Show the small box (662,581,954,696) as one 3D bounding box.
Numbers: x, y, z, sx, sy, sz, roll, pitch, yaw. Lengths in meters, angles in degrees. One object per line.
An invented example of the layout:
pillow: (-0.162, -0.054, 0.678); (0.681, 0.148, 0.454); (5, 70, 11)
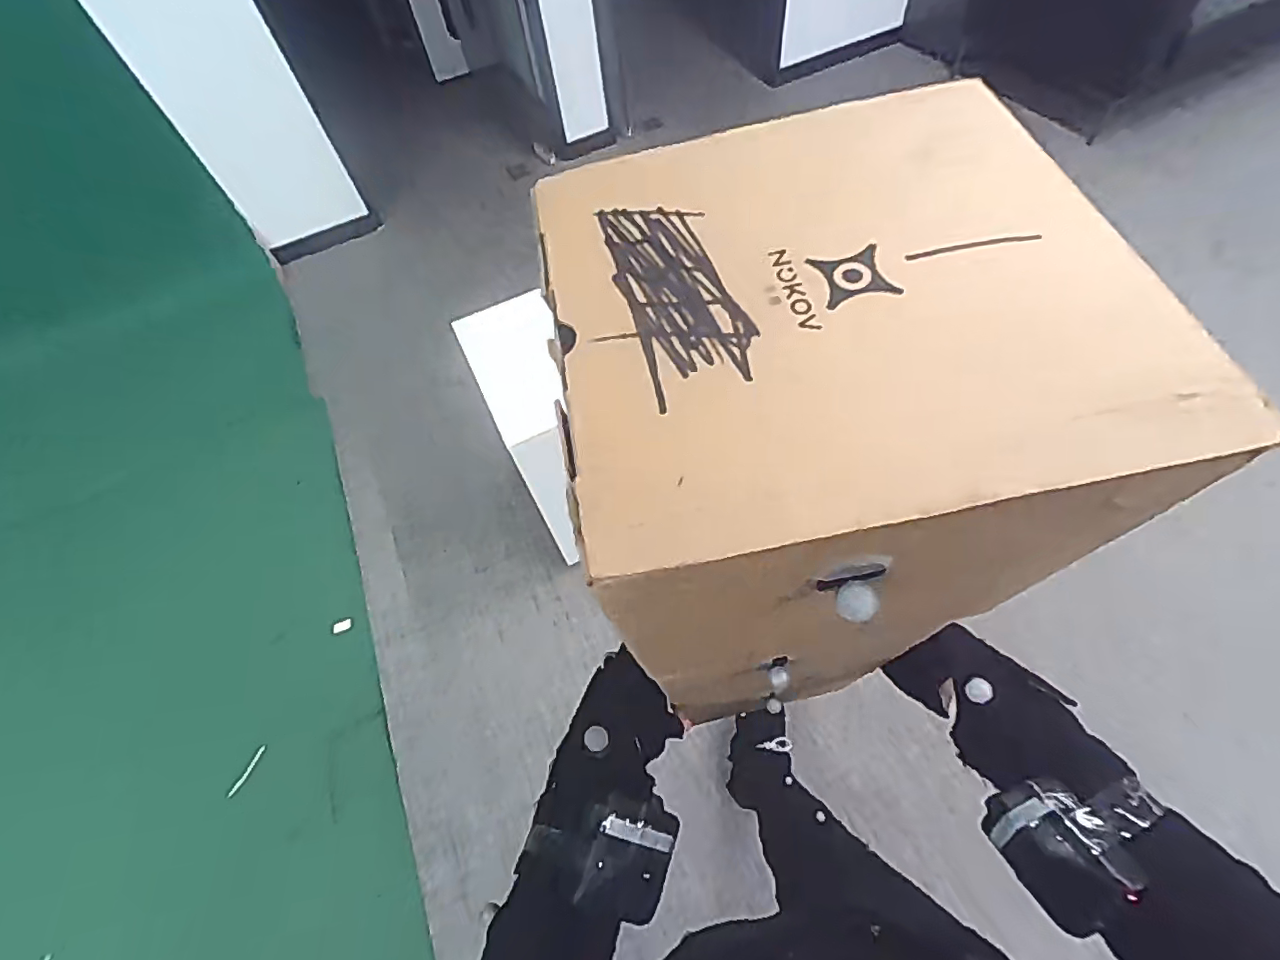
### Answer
small box: (0.083, 0.044, 0.403); (0.168, 0.176, 0.179); (-15, 62, -1)

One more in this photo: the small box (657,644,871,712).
small box: (0.101, 0.124, 0.542); (0.179, 0.176, 0.168); (-14, 61, -1)

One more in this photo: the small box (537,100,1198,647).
small box: (0.063, -0.030, 0.254); (0.179, 0.176, 0.168); (-12, 62, 1)
